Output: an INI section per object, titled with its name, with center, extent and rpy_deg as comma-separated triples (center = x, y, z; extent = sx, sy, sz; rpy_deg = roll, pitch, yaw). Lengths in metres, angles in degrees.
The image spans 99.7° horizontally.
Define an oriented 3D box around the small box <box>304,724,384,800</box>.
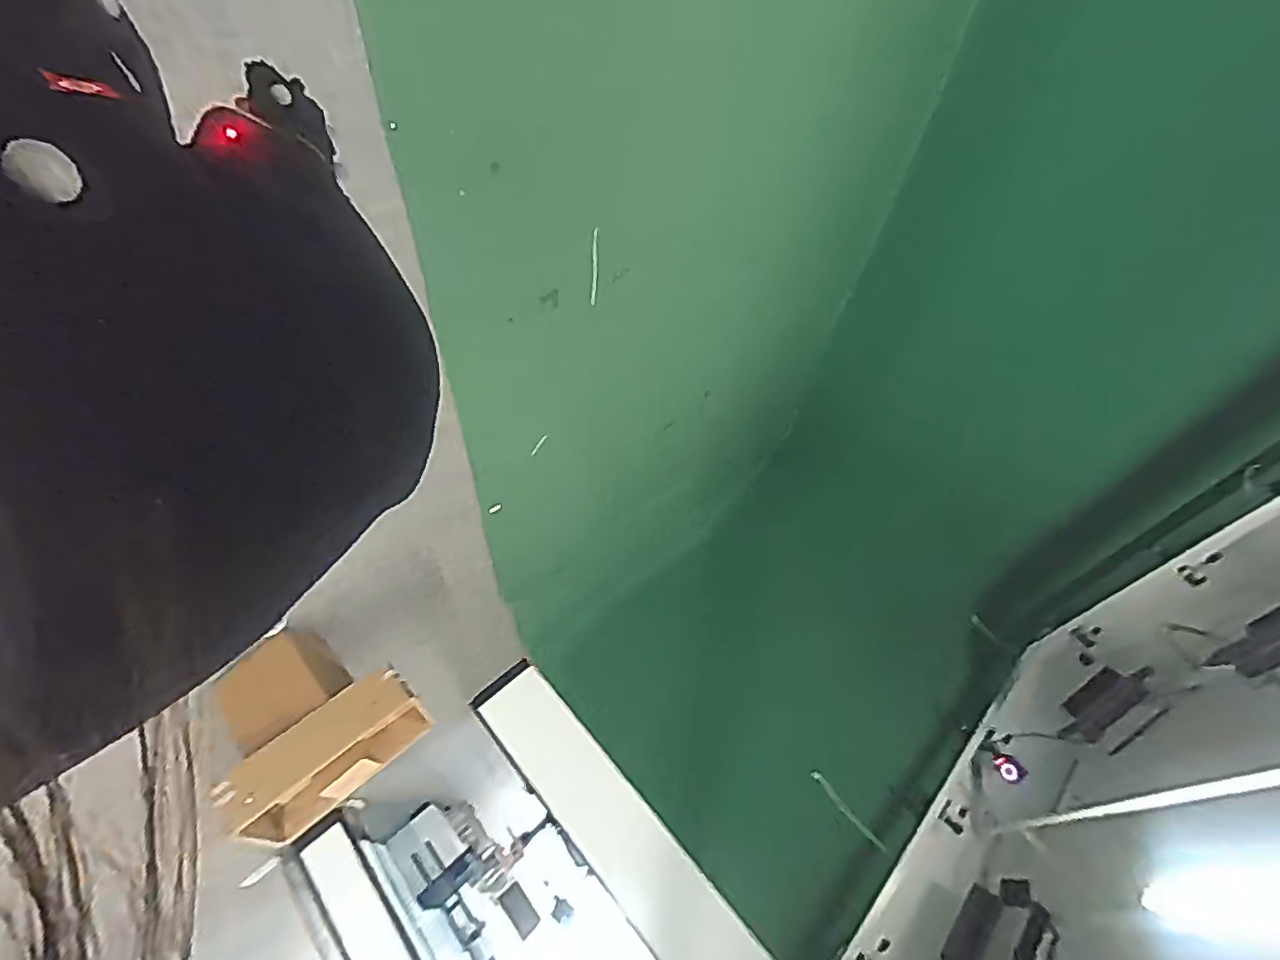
[small box]
center = -1.064, 1.014, 1.949
extent = 0.168, 0.176, 0.179
rpy_deg = -38, 153, -25
